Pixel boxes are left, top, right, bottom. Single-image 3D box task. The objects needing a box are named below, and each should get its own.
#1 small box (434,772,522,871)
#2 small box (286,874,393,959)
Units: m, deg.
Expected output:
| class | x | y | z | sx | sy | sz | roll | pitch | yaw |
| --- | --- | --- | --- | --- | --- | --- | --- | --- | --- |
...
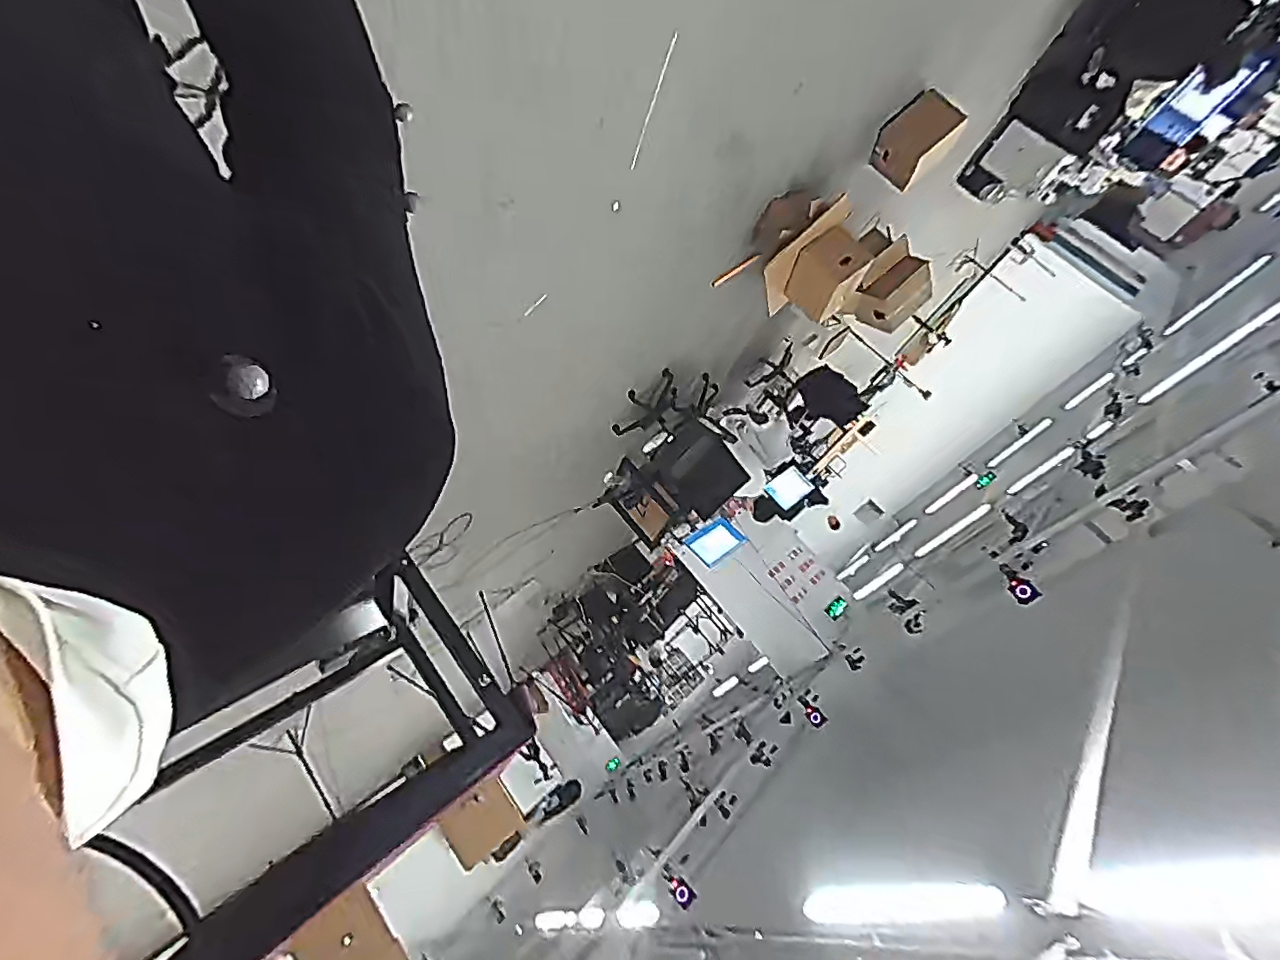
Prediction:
| class | x | y | z | sx | sy | sz | roll | pitch | yaw |
| --- | --- | --- | --- | --- | --- | --- | --- | --- | --- |
| small box | -0.457 | 0.948 | 1.508 | 0.168 | 0.176 | 0.179 | -29 | 161 | -37 |
| small box | -0.716 | 1.089 | 1.286 | 0.179 | 0.176 | 0.168 | -28 | 161 | -41 |
